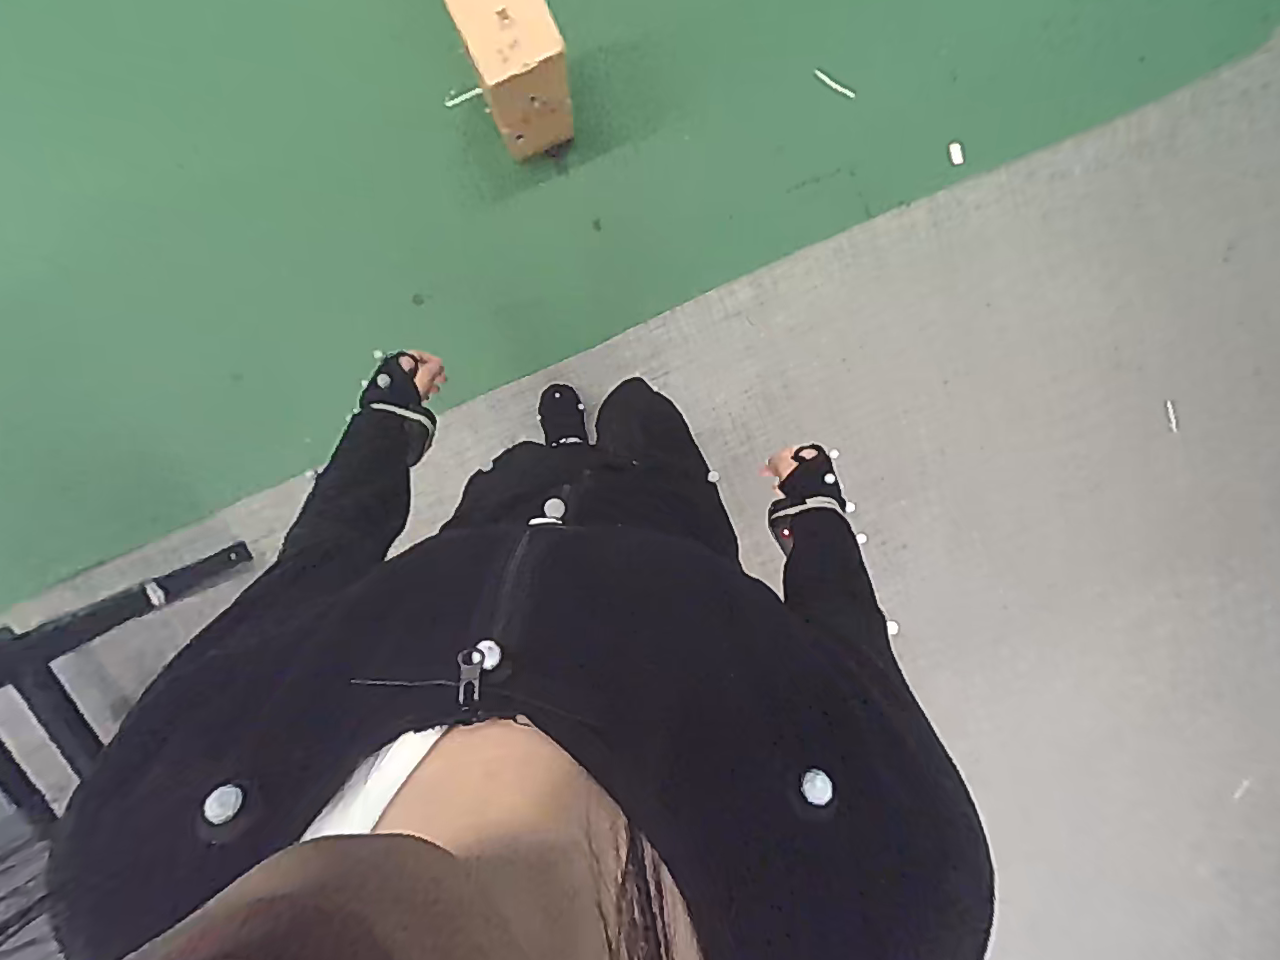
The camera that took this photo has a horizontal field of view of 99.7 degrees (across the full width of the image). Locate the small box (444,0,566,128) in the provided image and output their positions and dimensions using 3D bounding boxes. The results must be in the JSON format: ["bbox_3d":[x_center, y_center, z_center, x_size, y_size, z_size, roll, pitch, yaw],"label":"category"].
[{"bbox_3d":[-0.260,-0.856,1.079,0.168,0.176,0.179,-27,101,0],"label":"small box"}]
